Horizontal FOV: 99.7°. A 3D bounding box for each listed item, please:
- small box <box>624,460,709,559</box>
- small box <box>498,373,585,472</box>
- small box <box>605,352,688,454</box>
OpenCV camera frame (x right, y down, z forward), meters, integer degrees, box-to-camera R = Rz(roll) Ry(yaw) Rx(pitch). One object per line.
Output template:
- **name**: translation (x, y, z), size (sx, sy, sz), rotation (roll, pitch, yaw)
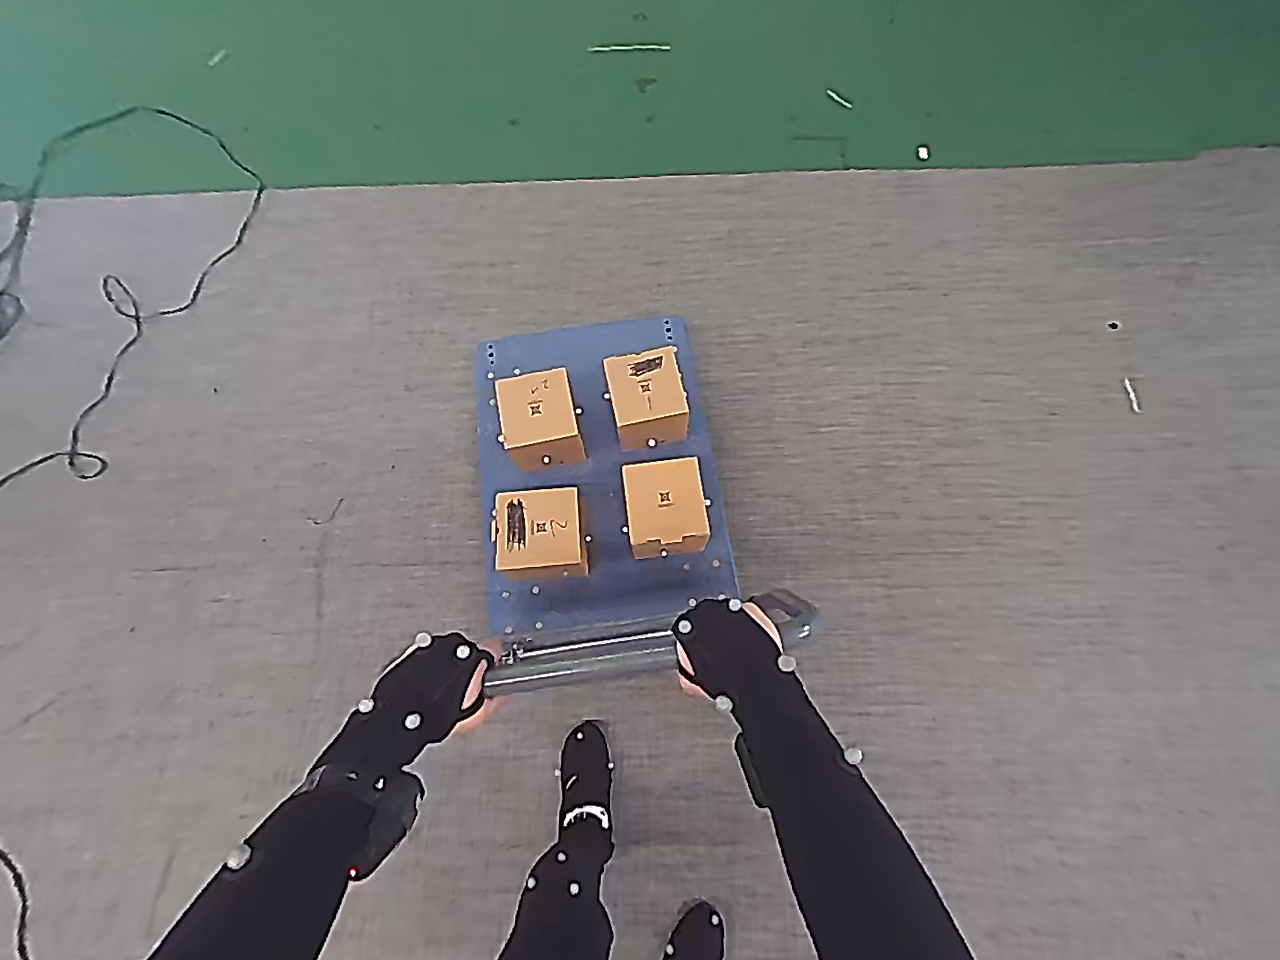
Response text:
- **small box**: translation (0.054, 0.071, 1.233), size (0.168, 0.176, 0.179), rotation (-7, 72, -2)
- **small box**: translation (-0.232, -0.130, 1.305), size (0.168, 0.176, 0.179), rotation (-11, 71, -4)
- **small box**: translation (0.014, -0.183, 1.318), size (0.168, 0.176, 0.179), rotation (-12, 73, -2)
